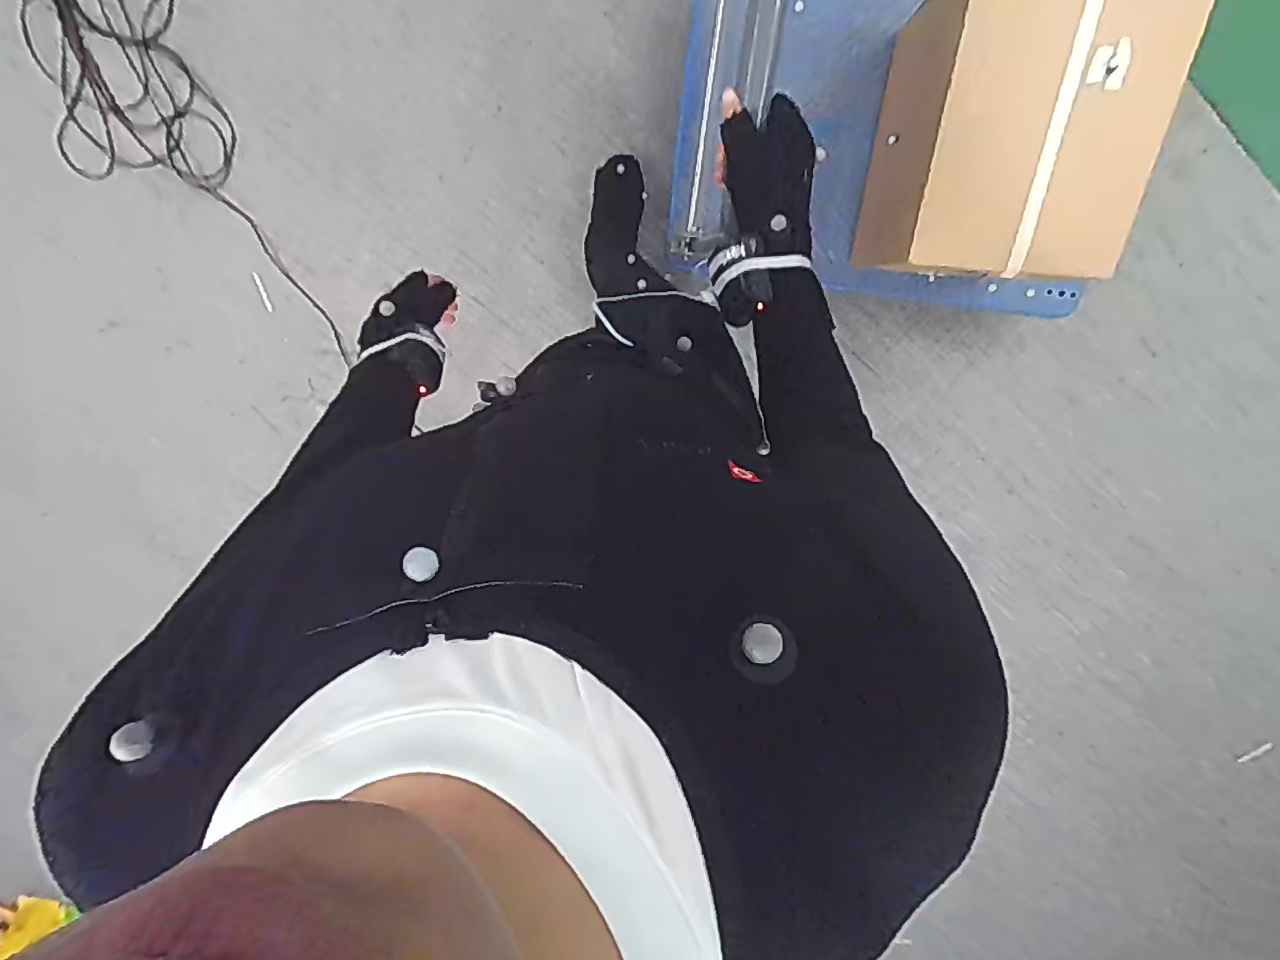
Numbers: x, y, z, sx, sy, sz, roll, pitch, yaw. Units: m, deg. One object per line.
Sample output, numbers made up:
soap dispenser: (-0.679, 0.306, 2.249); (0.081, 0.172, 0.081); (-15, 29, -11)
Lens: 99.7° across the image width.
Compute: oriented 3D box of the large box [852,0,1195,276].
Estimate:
large box: (0.589, -0.568, 0.914); (0.320, 0.320, 0.408); (5, 110, 1)
